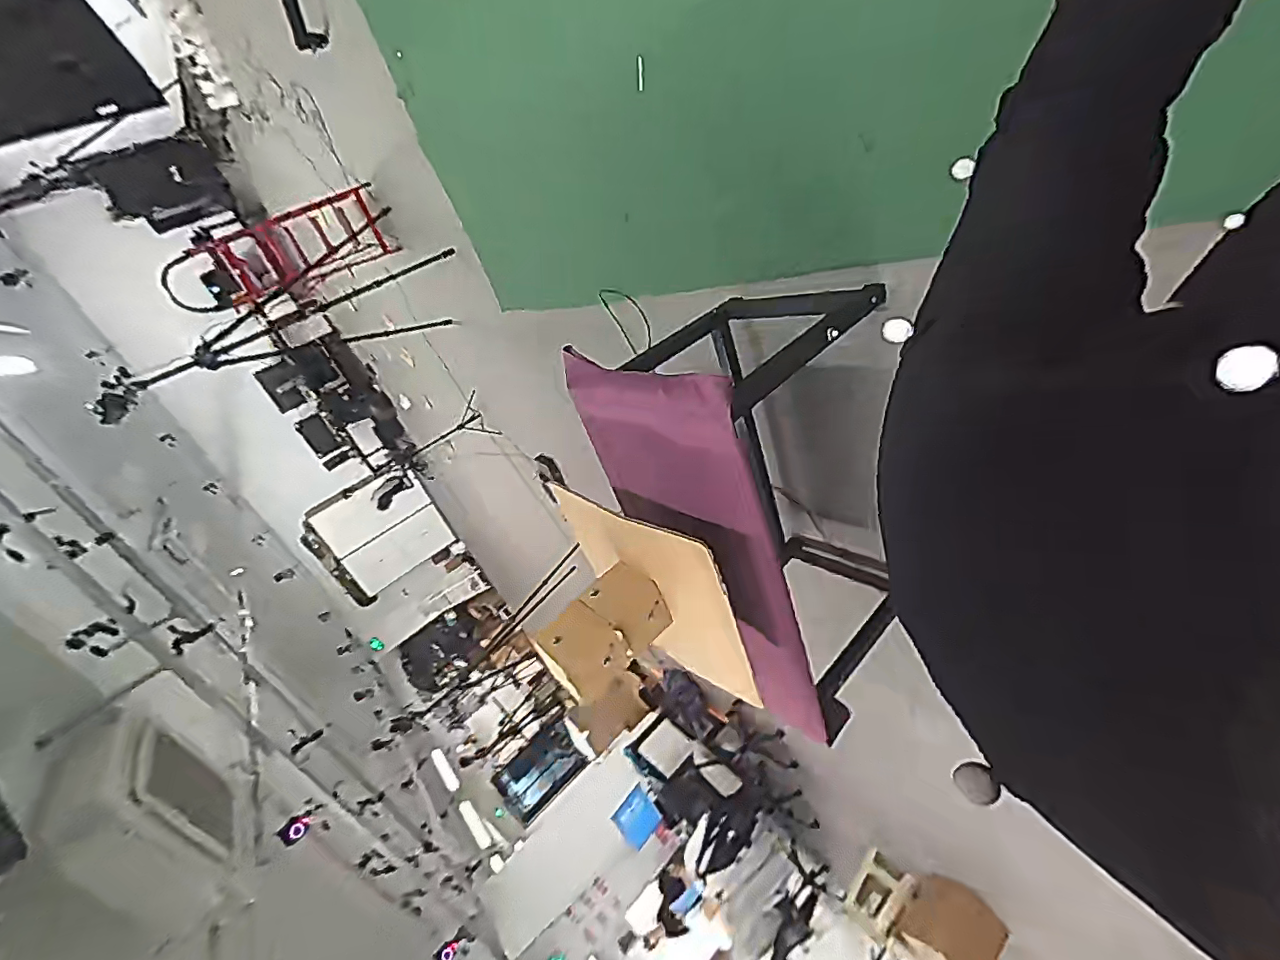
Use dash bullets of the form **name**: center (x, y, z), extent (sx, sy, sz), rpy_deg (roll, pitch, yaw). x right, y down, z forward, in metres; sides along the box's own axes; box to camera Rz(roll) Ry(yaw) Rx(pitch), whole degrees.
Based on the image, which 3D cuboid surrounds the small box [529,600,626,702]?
- **small box**: center (-0.167, 0.452, 1.466), extent (0.179, 0.176, 0.168), rpy_deg (20, 139, 50)

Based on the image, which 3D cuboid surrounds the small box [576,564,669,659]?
- **small box**: center (-0.048, 0.363, 1.534), extent (0.179, 0.176, 0.168), rpy_deg (21, 140, 50)
